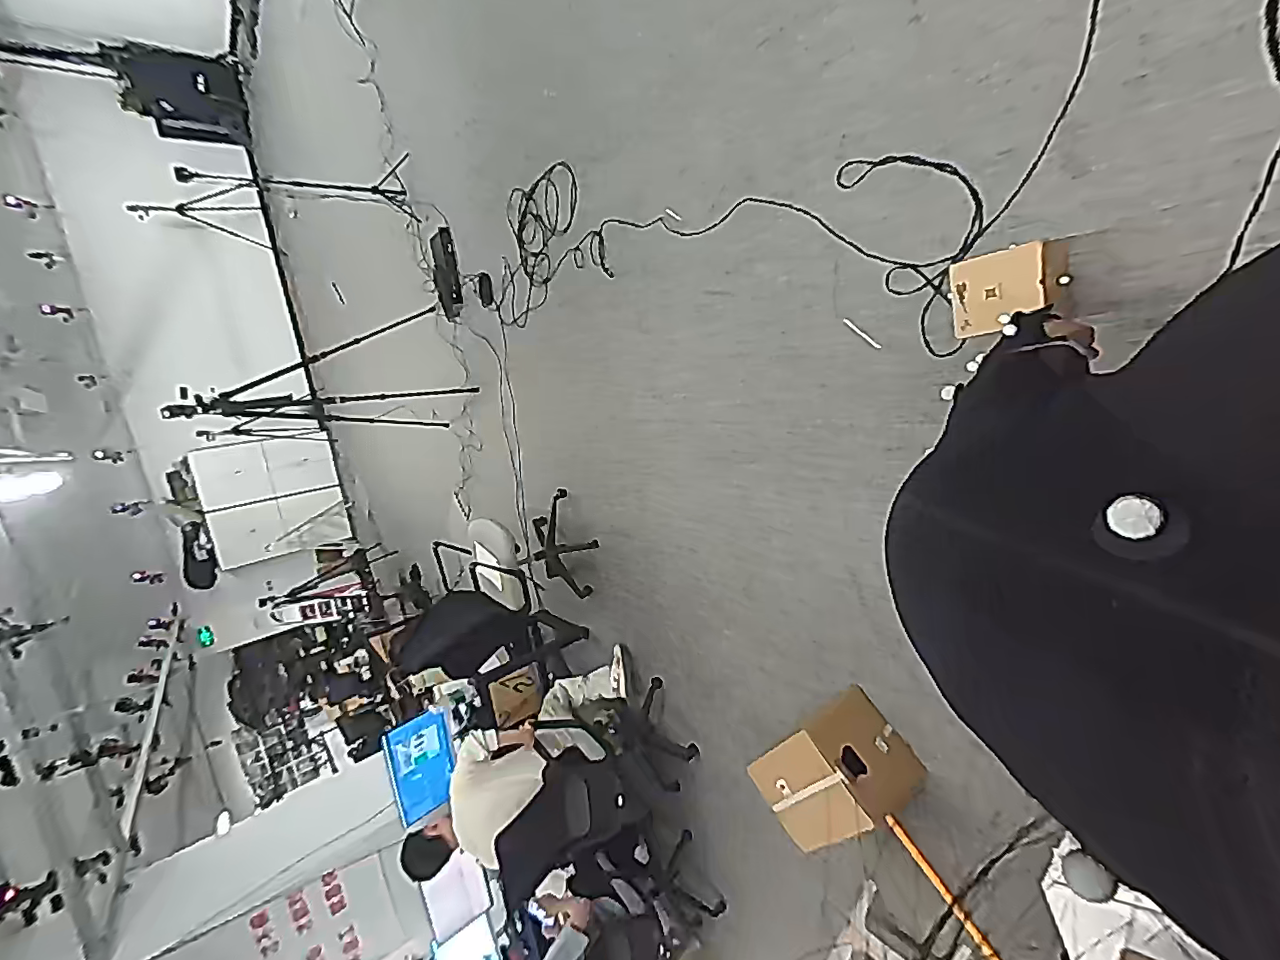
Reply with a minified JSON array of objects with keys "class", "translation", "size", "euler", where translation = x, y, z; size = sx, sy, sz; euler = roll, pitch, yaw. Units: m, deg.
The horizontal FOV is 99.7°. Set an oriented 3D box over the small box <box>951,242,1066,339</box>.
[{"class":"small box","translation":[0.820,-0.415,1.197],"size":[0.179,0.176,0.168],"euler":[0,103,51]}]
